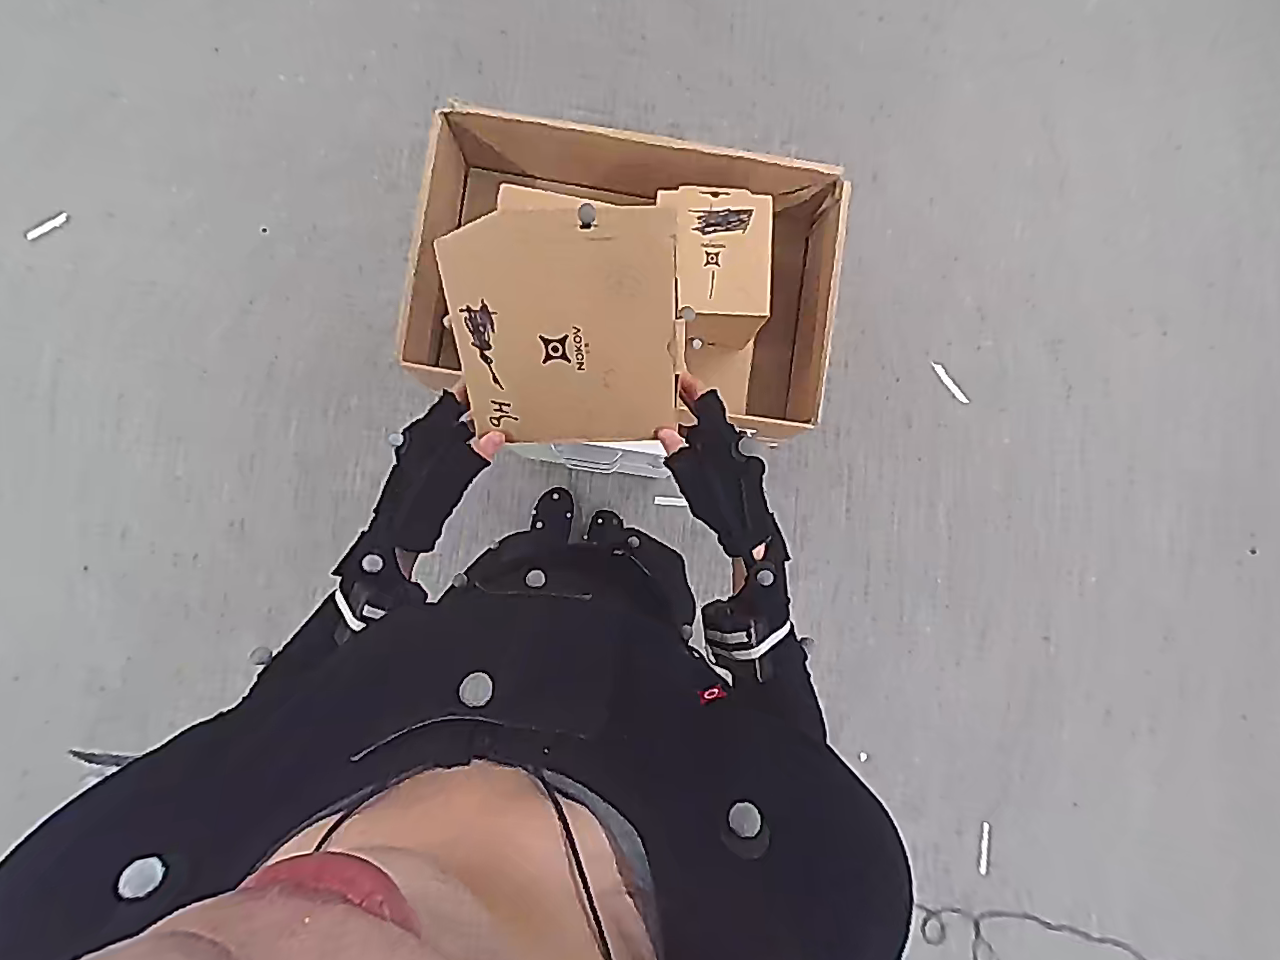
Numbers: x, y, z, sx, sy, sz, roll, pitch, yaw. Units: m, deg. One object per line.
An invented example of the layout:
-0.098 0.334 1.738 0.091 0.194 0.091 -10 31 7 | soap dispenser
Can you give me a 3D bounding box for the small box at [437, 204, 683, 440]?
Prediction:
-0.055 -0.148 0.487 0.179 0.176 0.168 -1 122 2 | small box
